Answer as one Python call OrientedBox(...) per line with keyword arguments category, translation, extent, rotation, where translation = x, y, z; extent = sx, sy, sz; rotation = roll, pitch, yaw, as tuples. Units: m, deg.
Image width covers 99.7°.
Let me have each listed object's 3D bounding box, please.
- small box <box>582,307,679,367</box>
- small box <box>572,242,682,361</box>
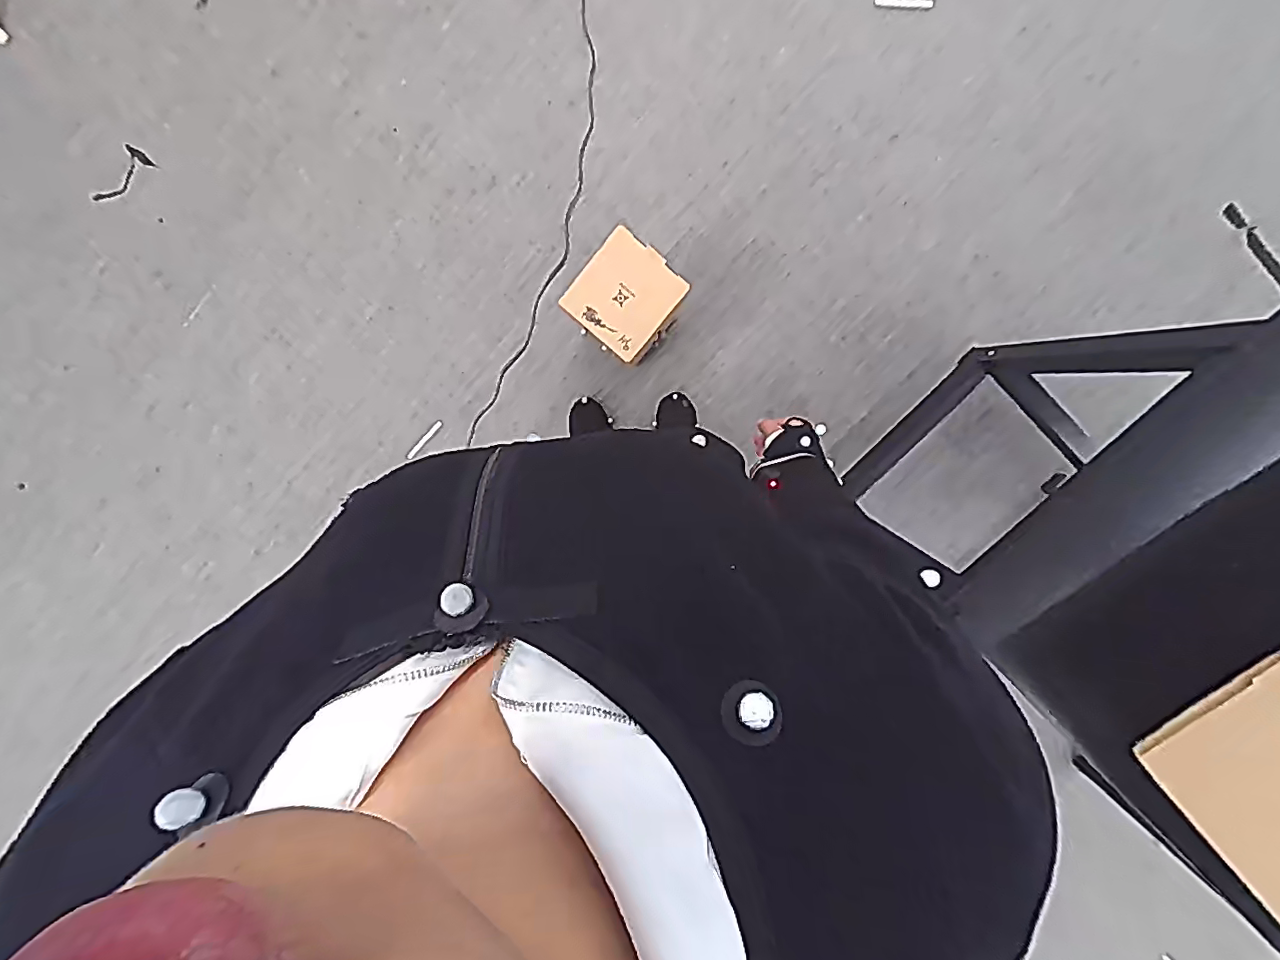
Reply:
OrientedBox(category="small box", translation=(-0.024, -0.400, 1.349), extent=(0.168, 0.176, 0.179), rotation=(40, 99, -5))
OrientedBox(category="small box", translation=(-0.025, -0.379, 1.189), extent=(0.168, 0.176, 0.179), rotation=(37, 97, -6))
